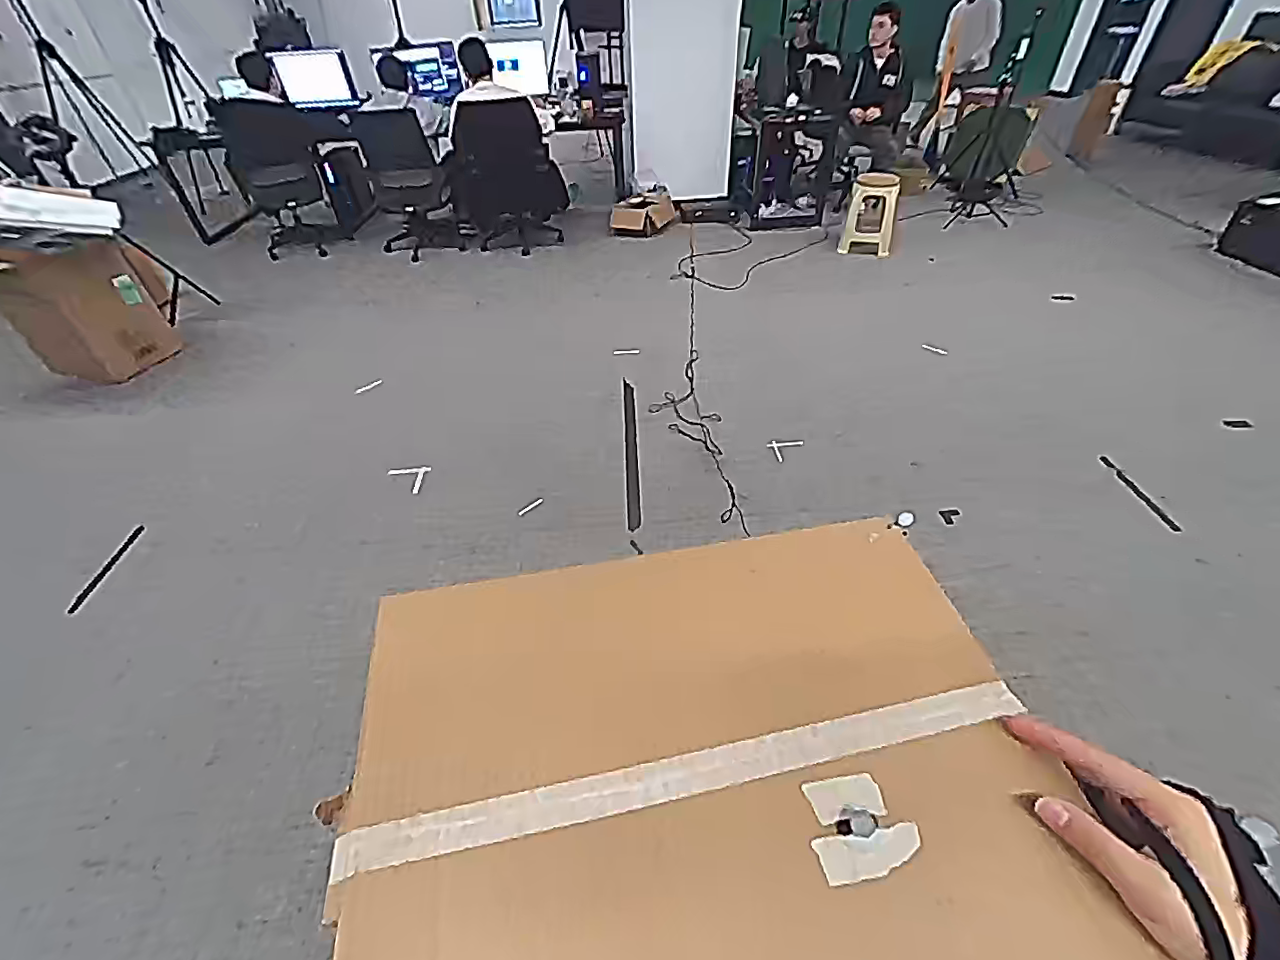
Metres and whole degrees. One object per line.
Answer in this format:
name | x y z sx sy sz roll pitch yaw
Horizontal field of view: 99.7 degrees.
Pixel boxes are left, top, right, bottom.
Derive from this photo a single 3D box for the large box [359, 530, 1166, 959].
large box | 0.039 0.281 0.434 0.408 0.320 0.320 -8 48 -10
